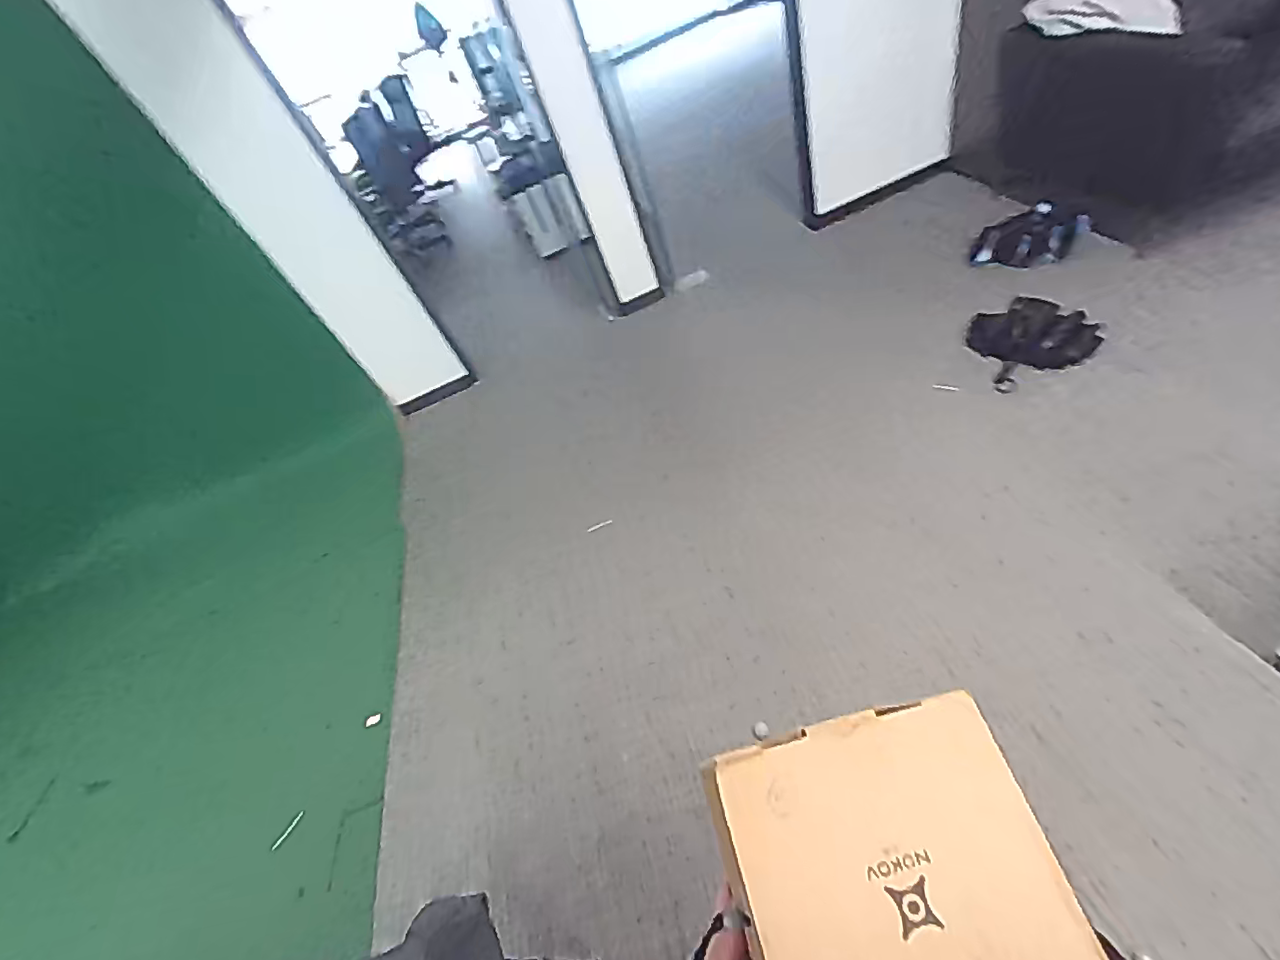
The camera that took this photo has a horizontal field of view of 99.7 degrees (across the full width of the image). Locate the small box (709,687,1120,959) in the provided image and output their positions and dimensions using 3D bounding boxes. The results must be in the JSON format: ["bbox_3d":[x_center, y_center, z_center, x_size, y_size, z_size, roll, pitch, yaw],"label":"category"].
[{"bbox_3d":[0.149,0.255,0.351,0.168,0.176,0.179,-14,61,-4],"label":"small box"}]
